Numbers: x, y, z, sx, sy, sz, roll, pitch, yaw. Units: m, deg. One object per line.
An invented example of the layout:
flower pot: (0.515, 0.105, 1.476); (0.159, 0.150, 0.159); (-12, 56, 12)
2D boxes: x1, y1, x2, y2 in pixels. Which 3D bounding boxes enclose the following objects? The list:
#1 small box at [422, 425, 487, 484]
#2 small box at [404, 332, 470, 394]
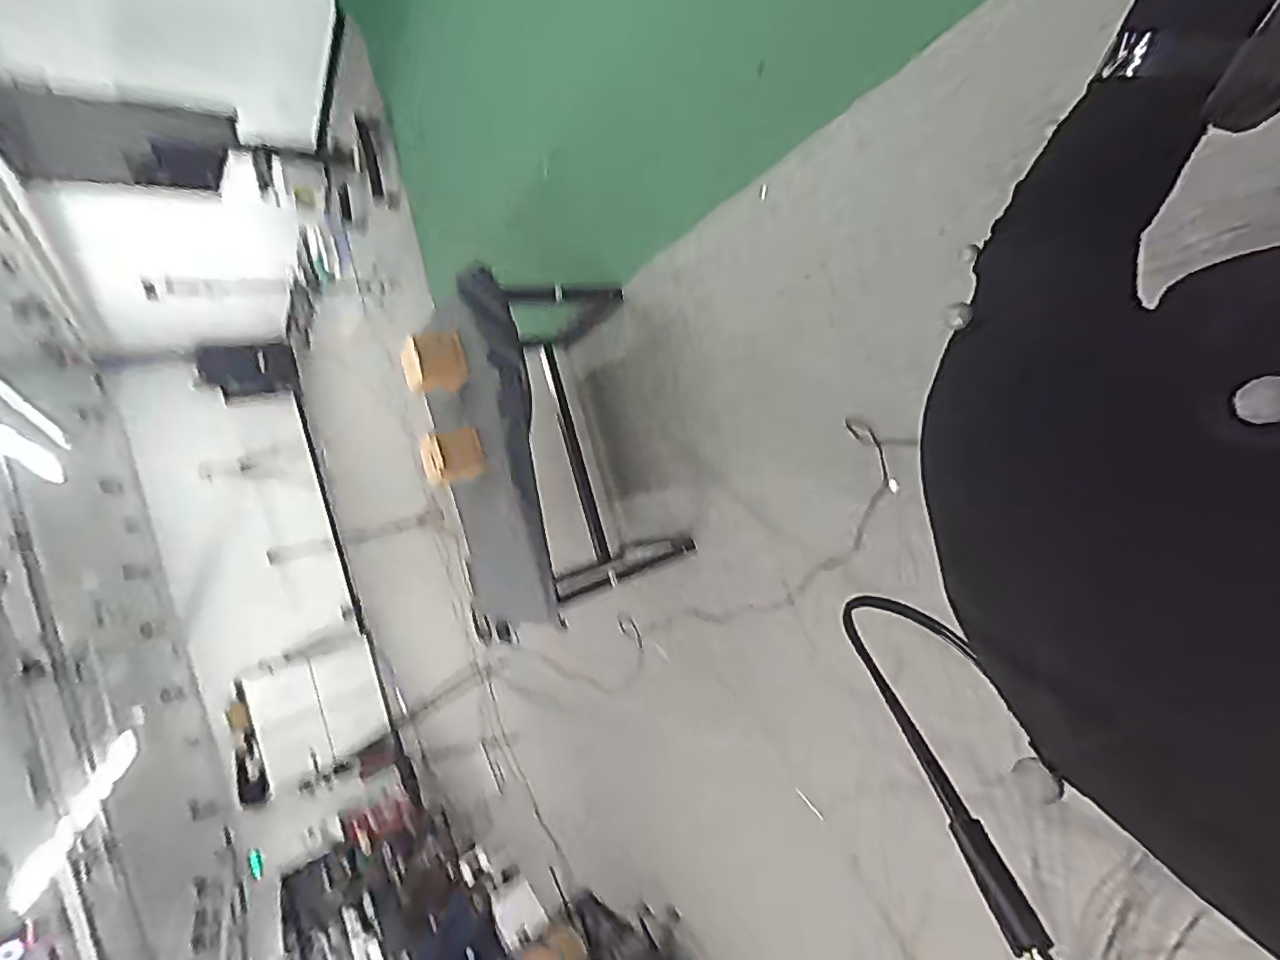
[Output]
small box: (-0.683, -0.096, 2.002); (0.179, 0.176, 0.168); (-22, 85, 54)
small box: (-0.726, -0.422, 1.943); (0.179, 0.176, 0.168); (-19, 86, 55)
